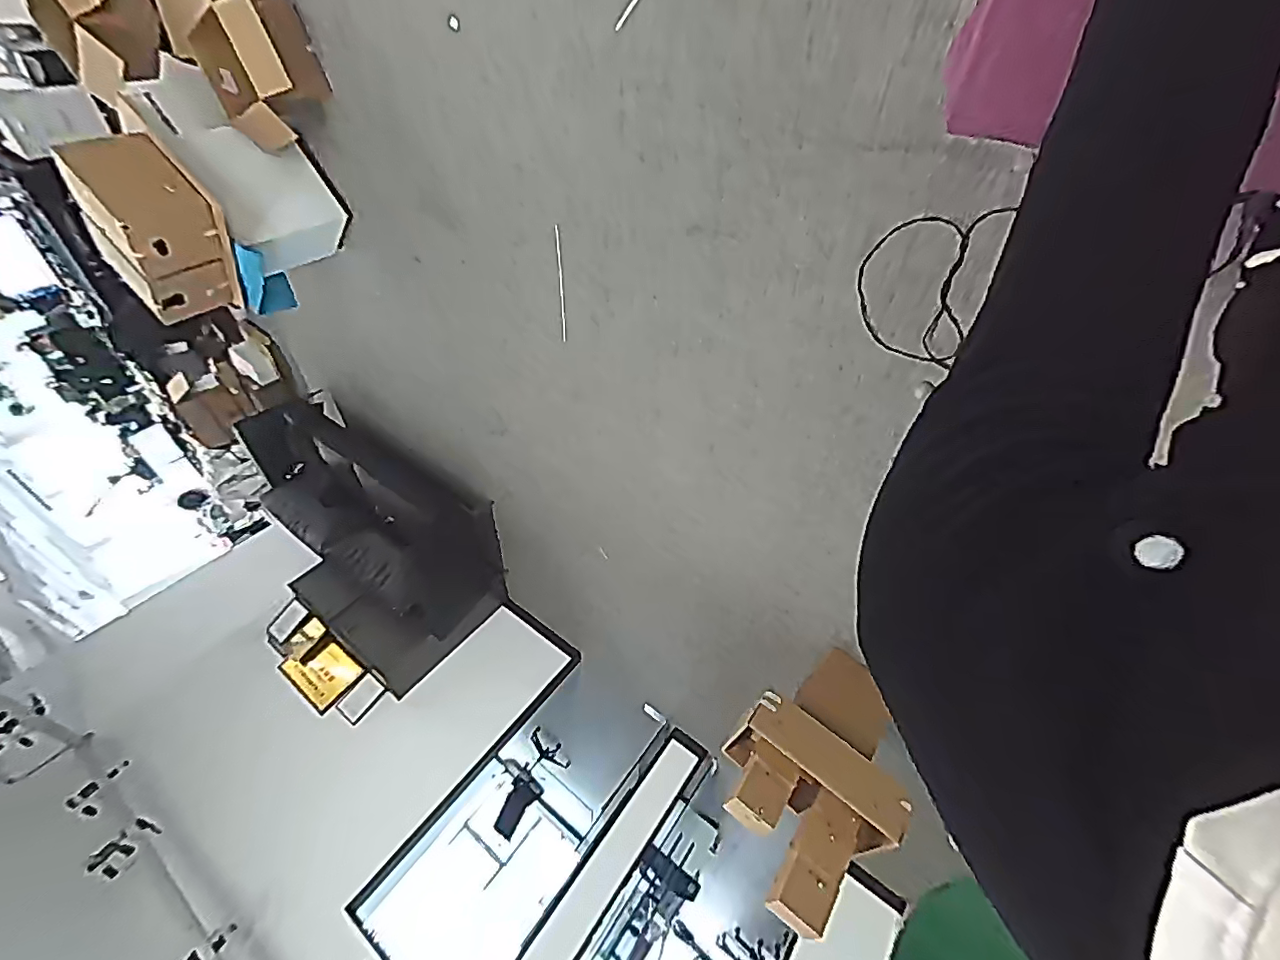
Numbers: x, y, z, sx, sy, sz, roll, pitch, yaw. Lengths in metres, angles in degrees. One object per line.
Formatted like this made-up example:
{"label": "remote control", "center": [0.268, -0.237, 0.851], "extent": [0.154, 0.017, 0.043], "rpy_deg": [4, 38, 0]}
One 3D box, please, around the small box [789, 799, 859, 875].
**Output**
{"label": "small box", "center": [0.676, 1.313, 1.980], "extent": [0.168, 0.176, 0.179], "rpy_deg": [30, 142, 19]}

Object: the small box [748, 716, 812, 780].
{"label": "small box", "center": [0.560, 1.082, 2.156], "extent": [0.168, 0.176, 0.179], "rpy_deg": [33, 141, 17]}

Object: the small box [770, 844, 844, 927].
{"label": "small box", "center": [0.586, 1.414, 1.890], "extent": [0.168, 0.176, 0.179], "rpy_deg": [31, 142, 18]}

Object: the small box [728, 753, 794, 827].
{"label": "small box", "center": [0.464, 1.181, 2.065], "extent": [0.168, 0.176, 0.179], "rpy_deg": [34, 142, 15]}
